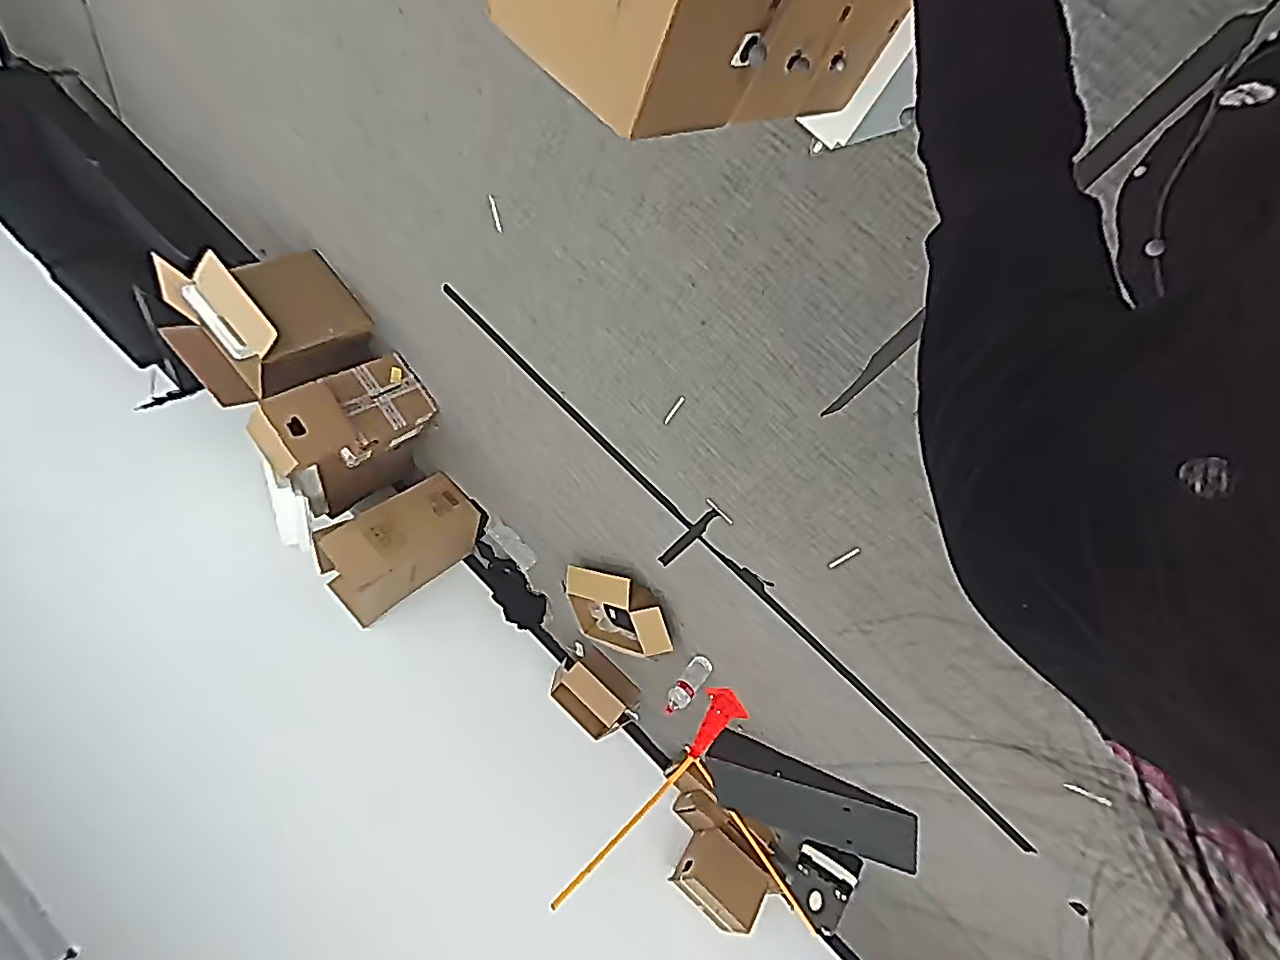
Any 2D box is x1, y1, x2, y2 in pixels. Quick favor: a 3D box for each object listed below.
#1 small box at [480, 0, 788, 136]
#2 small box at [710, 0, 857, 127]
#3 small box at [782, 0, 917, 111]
[{"bbox_3d":[0.006,-0.410,0.426,0.179,0.176,0.168,44,141,7],"label":"small box"},{"bbox_3d":[0.104,-0.488,0.529,0.179,0.176,0.168,45,141,7],"label":"small box"},{"bbox_3d":[0.200,-0.569,0.632,0.179,0.176,0.168,46,141,7],"label":"small box"}]
